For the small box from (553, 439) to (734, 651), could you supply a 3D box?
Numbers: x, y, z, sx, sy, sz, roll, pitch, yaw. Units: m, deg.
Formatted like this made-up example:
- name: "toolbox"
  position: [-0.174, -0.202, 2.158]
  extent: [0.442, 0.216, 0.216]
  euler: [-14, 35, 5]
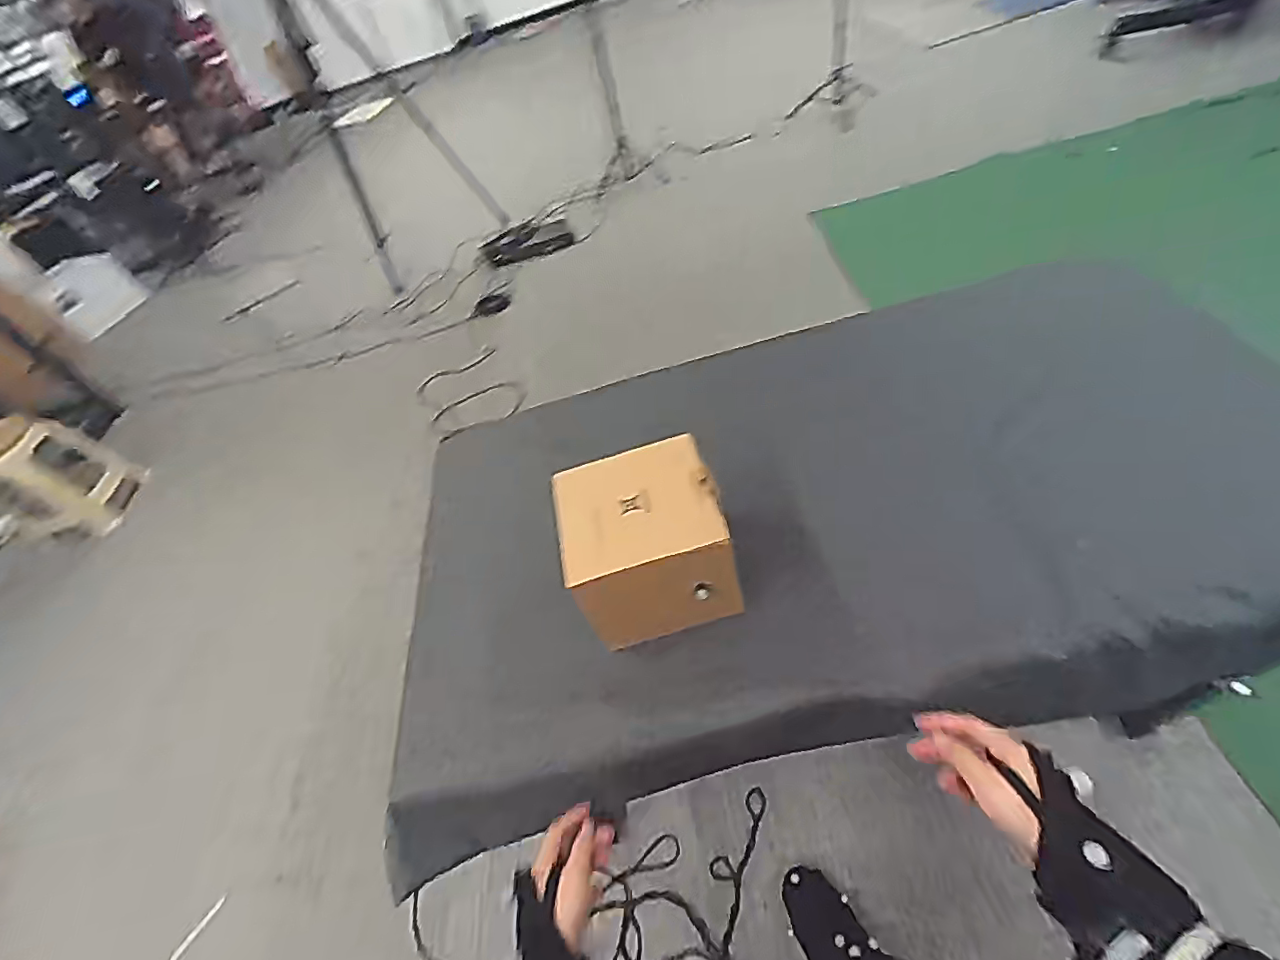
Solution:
- name: "small box"
  position: [0.009, 0.083, 0.663]
  extent: [0.179, 0.176, 0.168]
  euler: [-18, 47, 3]
